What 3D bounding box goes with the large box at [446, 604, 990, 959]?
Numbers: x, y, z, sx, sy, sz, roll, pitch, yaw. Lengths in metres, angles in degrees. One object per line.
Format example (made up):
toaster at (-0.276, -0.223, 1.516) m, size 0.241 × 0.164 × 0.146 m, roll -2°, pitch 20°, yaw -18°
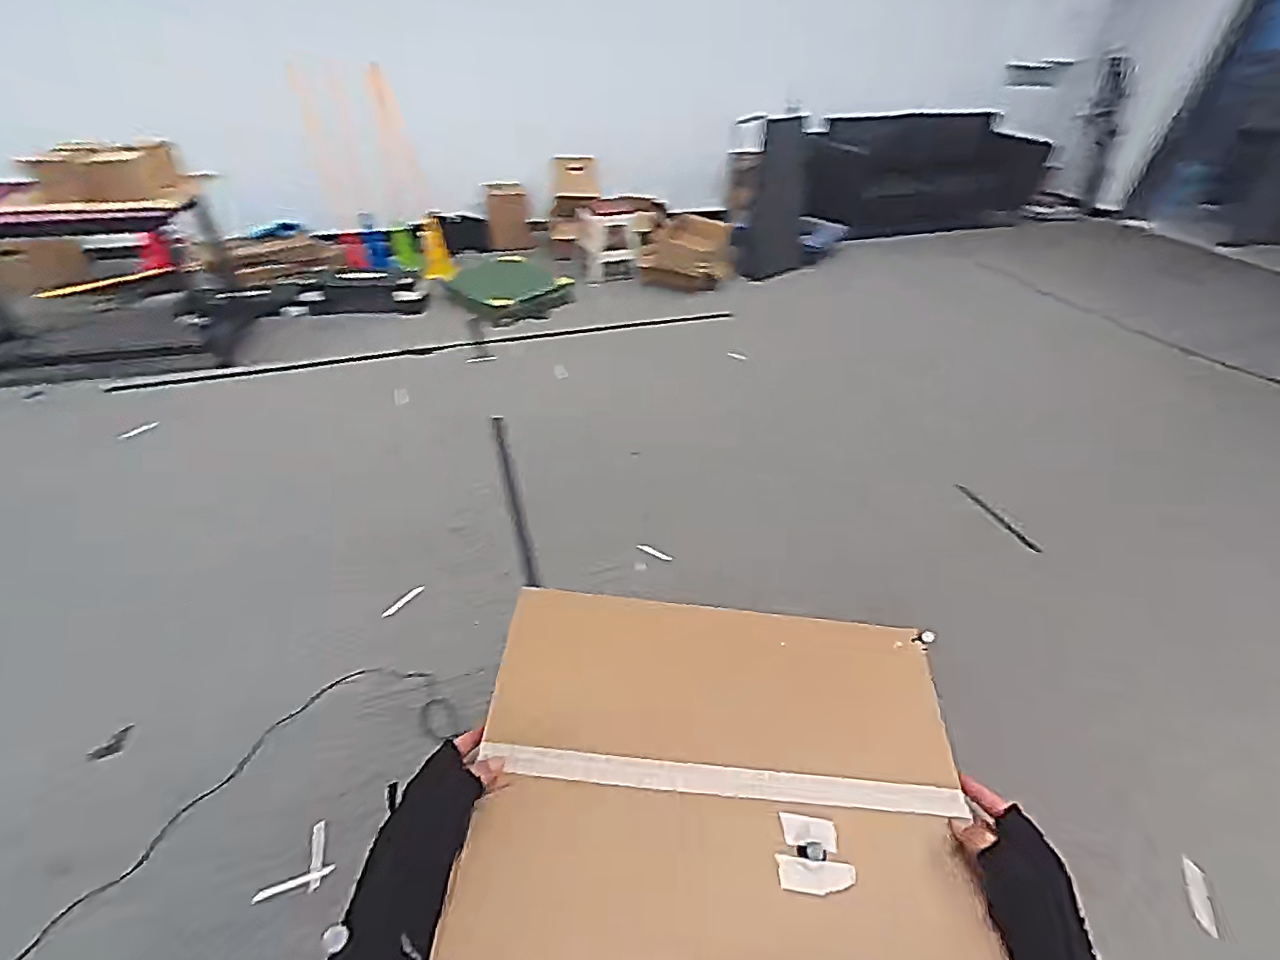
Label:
large box at (0.053, 0.353, 0.572) m, size 0.408 × 0.320 × 0.320 m, roll 5°, pitch 50°, yaw -2°
